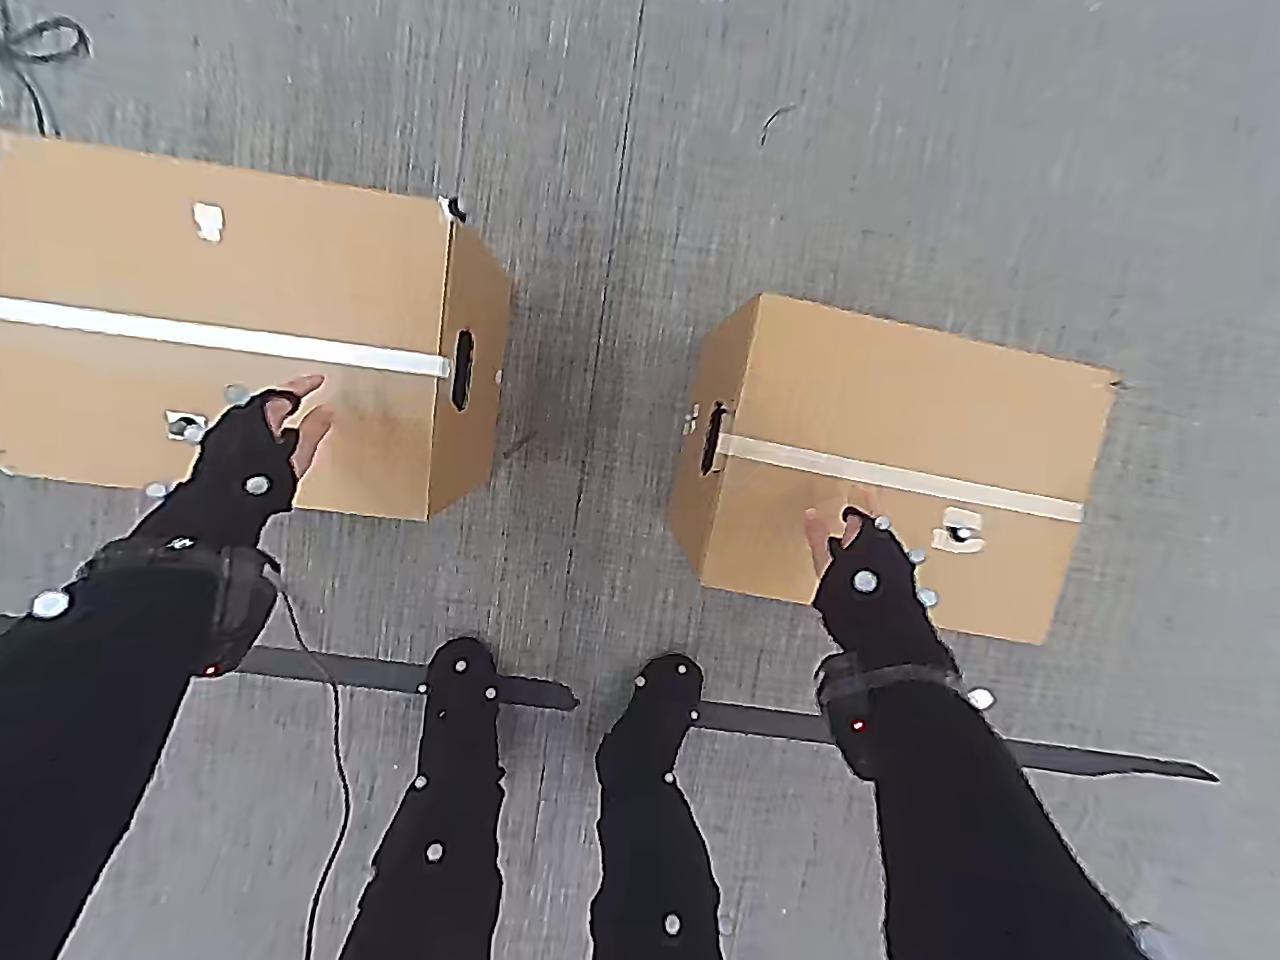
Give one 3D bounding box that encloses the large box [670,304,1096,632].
[{"bbox_3d":[0.278,-0.019,0.746,0.408,0.320,0.320,11,96,-6],"label":"large box"}]
